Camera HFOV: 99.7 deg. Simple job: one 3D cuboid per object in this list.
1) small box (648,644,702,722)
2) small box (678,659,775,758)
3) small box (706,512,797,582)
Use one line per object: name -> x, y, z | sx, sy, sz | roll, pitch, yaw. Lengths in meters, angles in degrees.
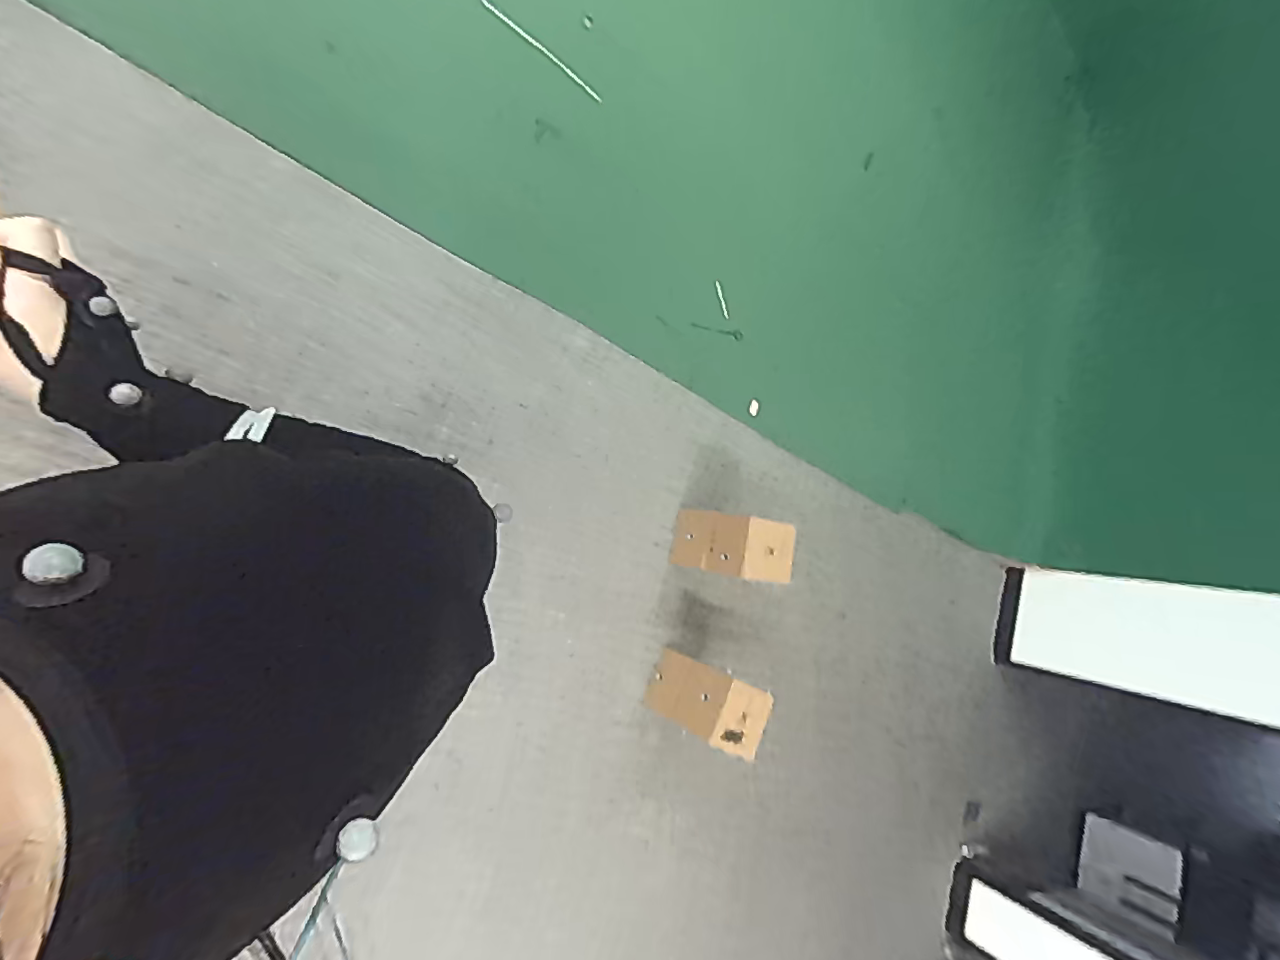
small box -> 0.148, 0.616, 1.607 | 0.168, 0.176, 0.179 | 32, 74, -27
small box -> 0.226, 0.611, 1.461 | 0.168, 0.176, 0.179 | 33, 72, -26
small box -> 0.308, 0.184, 1.516 | 0.179, 0.176, 0.168 | 13, 83, -31
